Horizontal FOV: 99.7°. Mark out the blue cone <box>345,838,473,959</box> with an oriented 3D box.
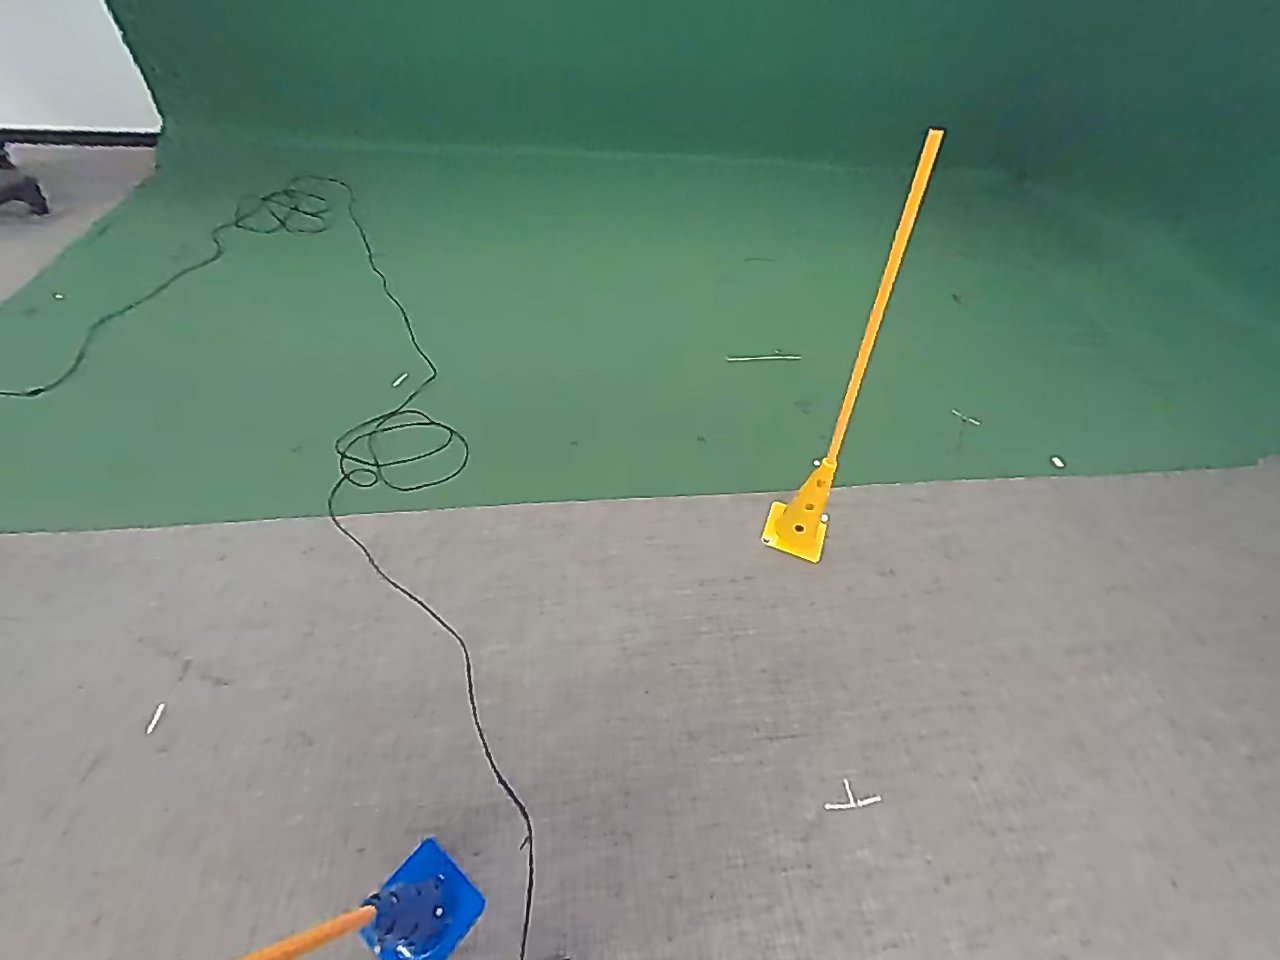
[{"bbox_3d":[-0.456,0.793,0.997,0.192,0.380,0.193,34,57,19],"label":"blue cone"}]
